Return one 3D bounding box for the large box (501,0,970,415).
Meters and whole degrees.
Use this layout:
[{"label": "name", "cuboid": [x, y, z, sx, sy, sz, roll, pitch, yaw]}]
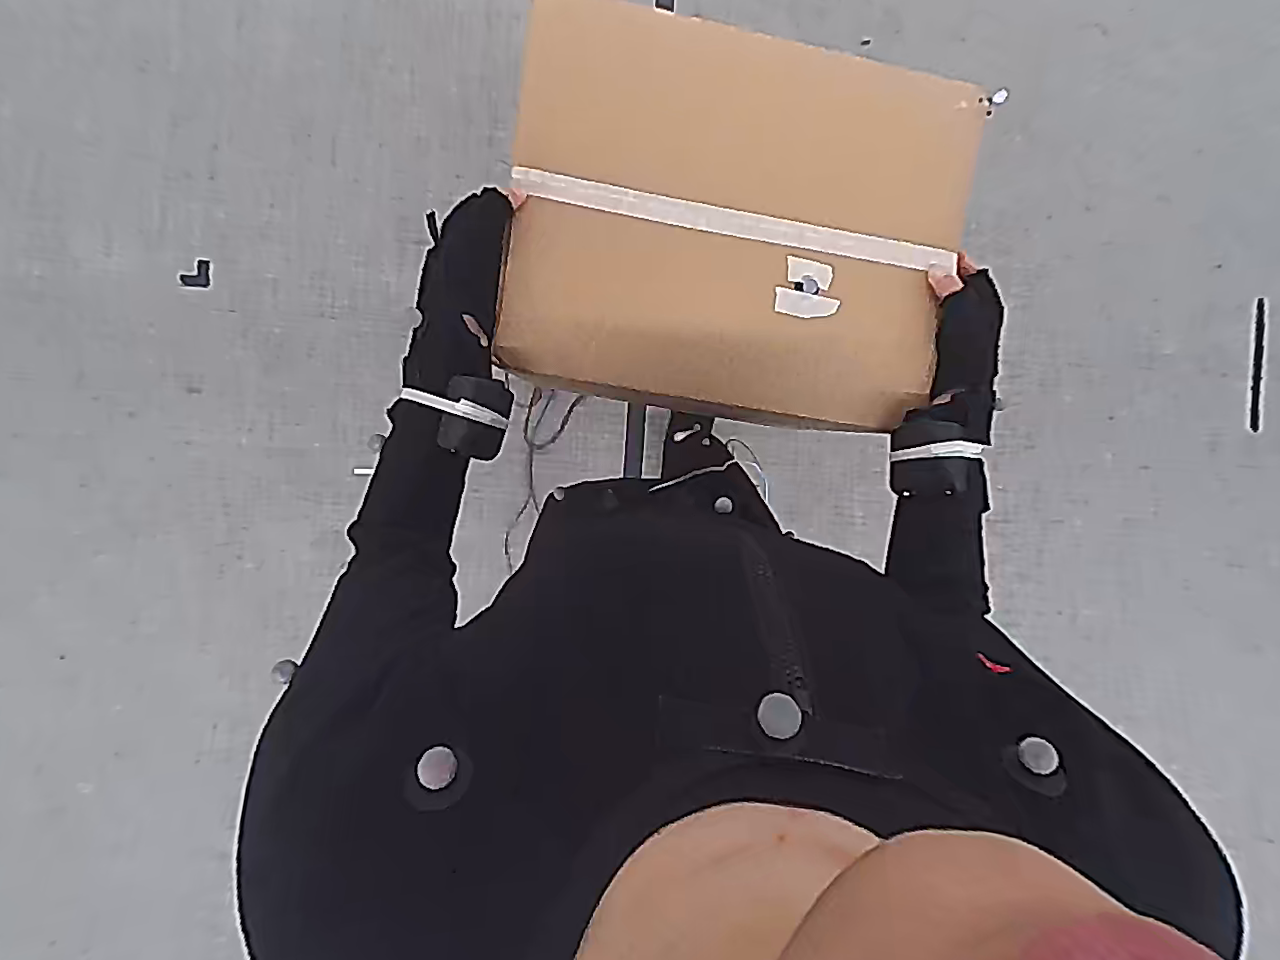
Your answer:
[{"label": "large box", "cuboid": [0.073, -0.257, 0.638, 0.408, 0.320, 0.320, 9, 97, -7]}]
